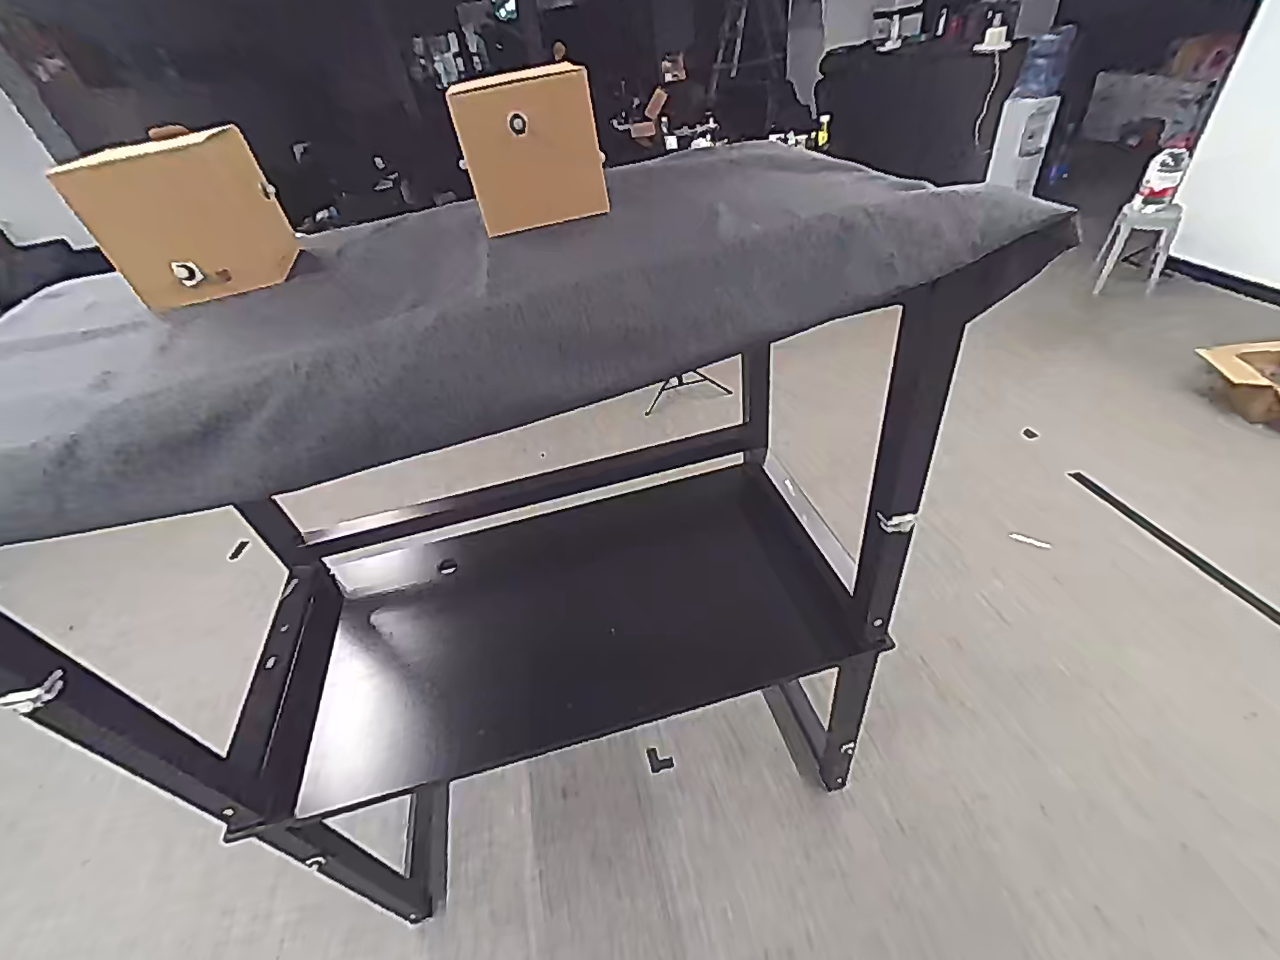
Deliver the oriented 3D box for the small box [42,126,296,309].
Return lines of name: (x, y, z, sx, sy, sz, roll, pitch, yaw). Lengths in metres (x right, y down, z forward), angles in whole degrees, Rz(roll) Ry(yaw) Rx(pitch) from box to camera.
small box: (-0.587, -0.346, 0.710, 0.168, 0.176, 0.179, -19, 41, -9)

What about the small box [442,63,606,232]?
small box: (-0.157, -0.465, 0.758, 0.179, 0.176, 0.168, -14, 41, -5)
